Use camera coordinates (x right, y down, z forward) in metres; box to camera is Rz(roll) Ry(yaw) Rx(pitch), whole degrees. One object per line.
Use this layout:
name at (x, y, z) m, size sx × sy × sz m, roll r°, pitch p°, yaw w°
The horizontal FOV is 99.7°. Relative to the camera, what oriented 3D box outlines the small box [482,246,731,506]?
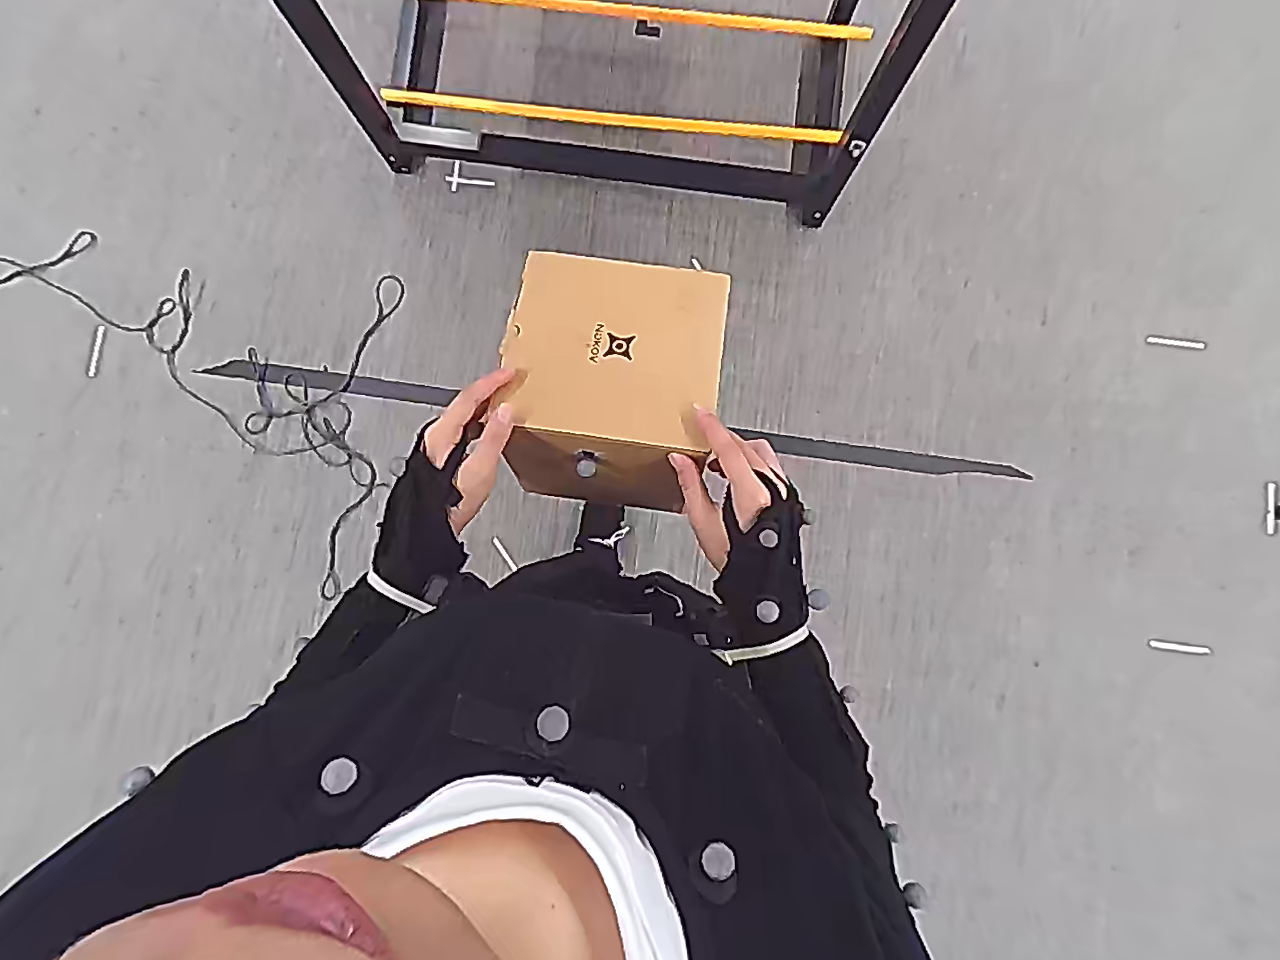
small box at (-0.022, -0.082, 0.501) m, size 0.179 × 0.176 × 0.168 m, roll 8°, pitch 71°, yaw 3°
